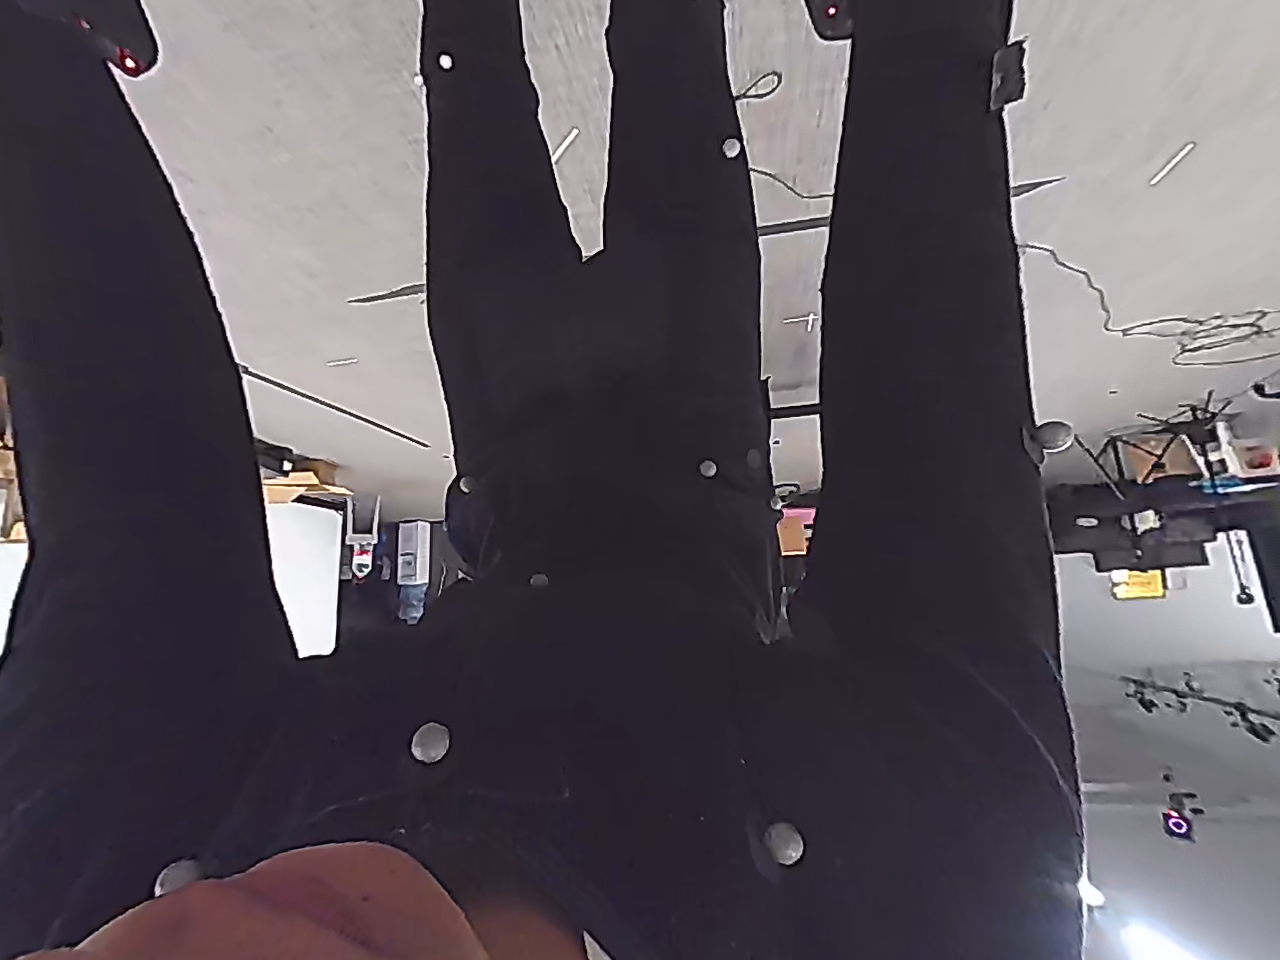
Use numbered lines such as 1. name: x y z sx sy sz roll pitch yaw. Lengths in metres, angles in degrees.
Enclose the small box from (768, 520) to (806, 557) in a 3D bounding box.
1. small box: 0.731 0.291 2.692 0.168 0.176 0.179 -6 167 14
